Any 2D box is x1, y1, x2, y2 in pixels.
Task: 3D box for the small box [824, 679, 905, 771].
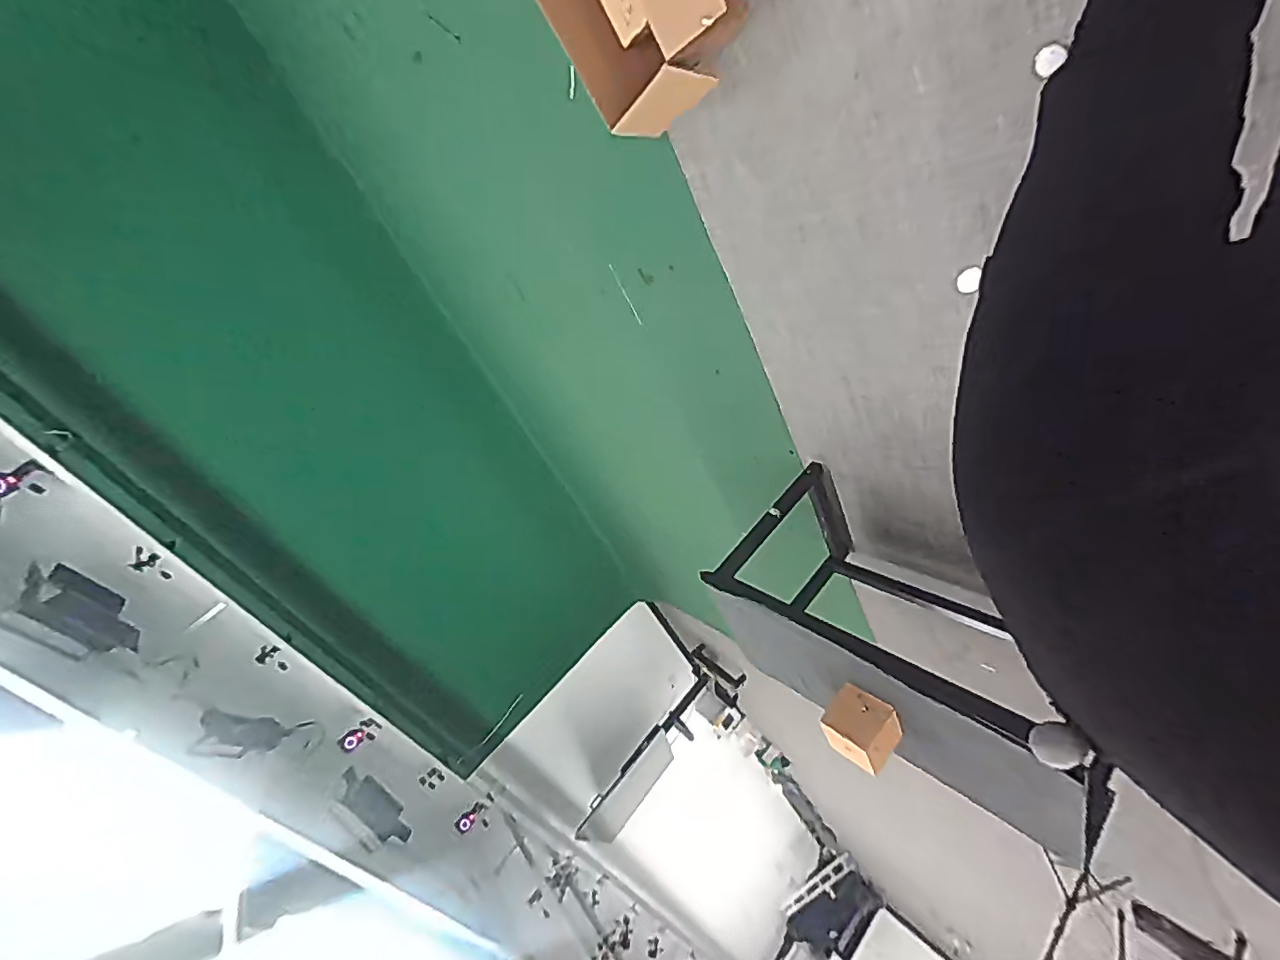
[{"bbox_3d":[0.723,0.777,1.727,0.168,0.176,0.179,20,147,51],"label":"small box"}]
